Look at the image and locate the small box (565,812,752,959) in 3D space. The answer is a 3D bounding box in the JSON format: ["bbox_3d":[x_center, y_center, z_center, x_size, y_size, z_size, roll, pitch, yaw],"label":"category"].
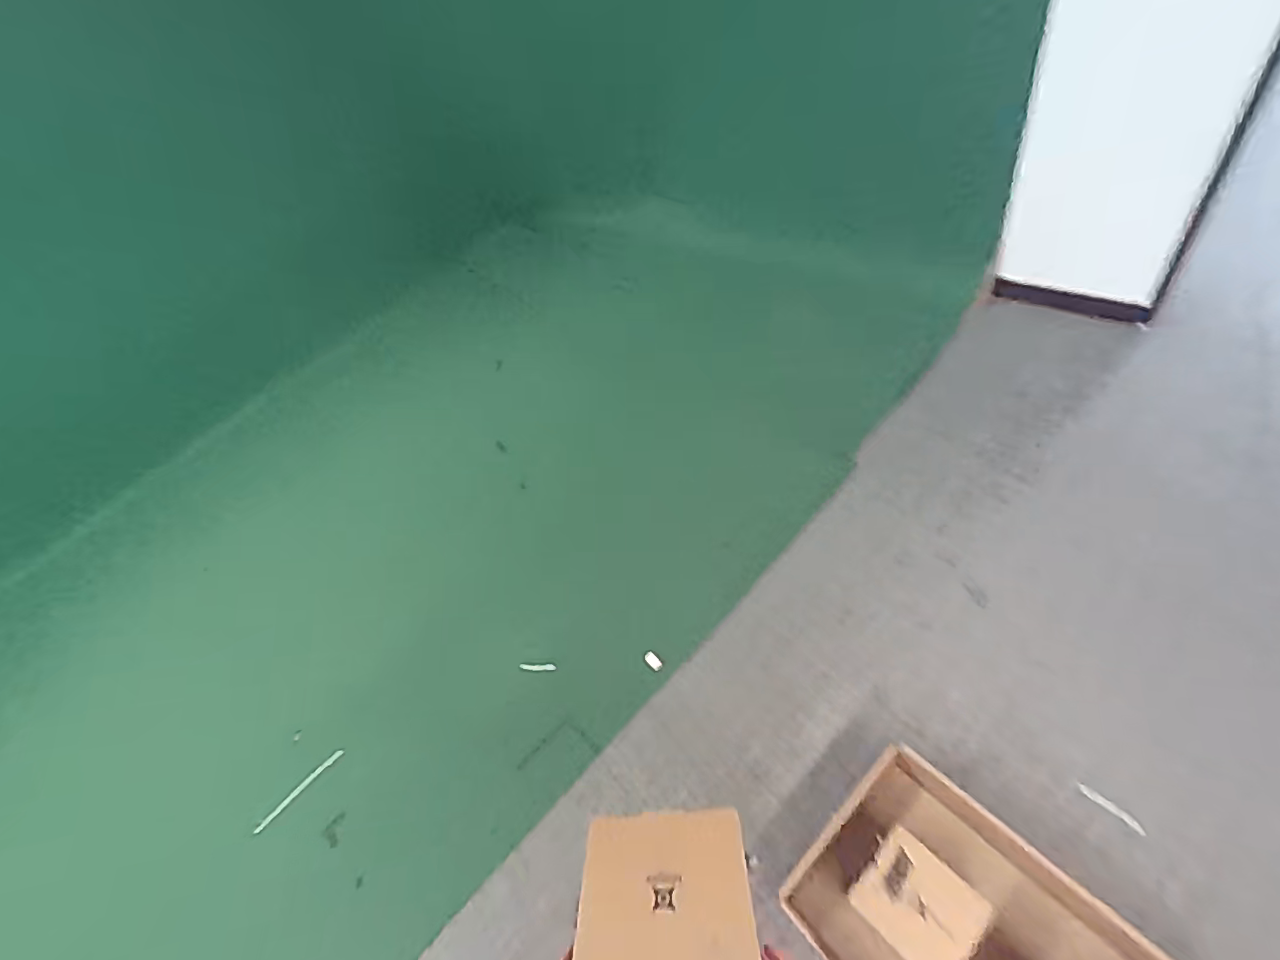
[{"bbox_3d":[0.028,0.475,0.536,0.168,0.176,0.179,-7,16,3],"label":"small box"}]
